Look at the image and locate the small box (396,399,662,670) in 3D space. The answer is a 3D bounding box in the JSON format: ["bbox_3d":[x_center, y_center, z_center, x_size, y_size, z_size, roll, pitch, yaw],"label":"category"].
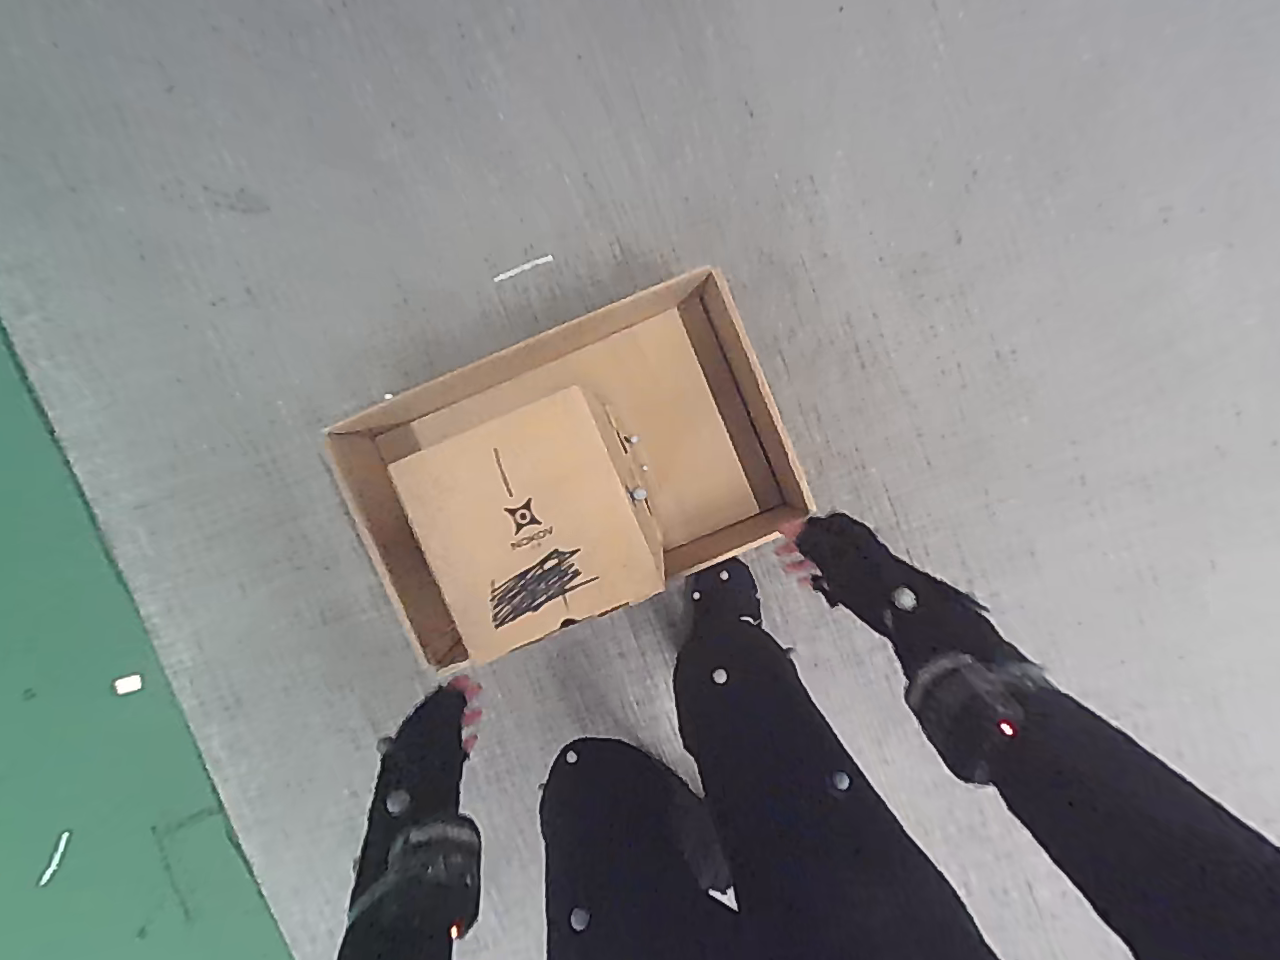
[{"bbox_3d":[-0.083,0.040,0.504,0.168,0.176,0.179,-23,91,3],"label":"small box"}]

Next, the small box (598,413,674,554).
[{"bbox_3d":[-0.076,0.031,0.653,0.179,0.176,0.168,-27,93,2],"label":"small box"}]
